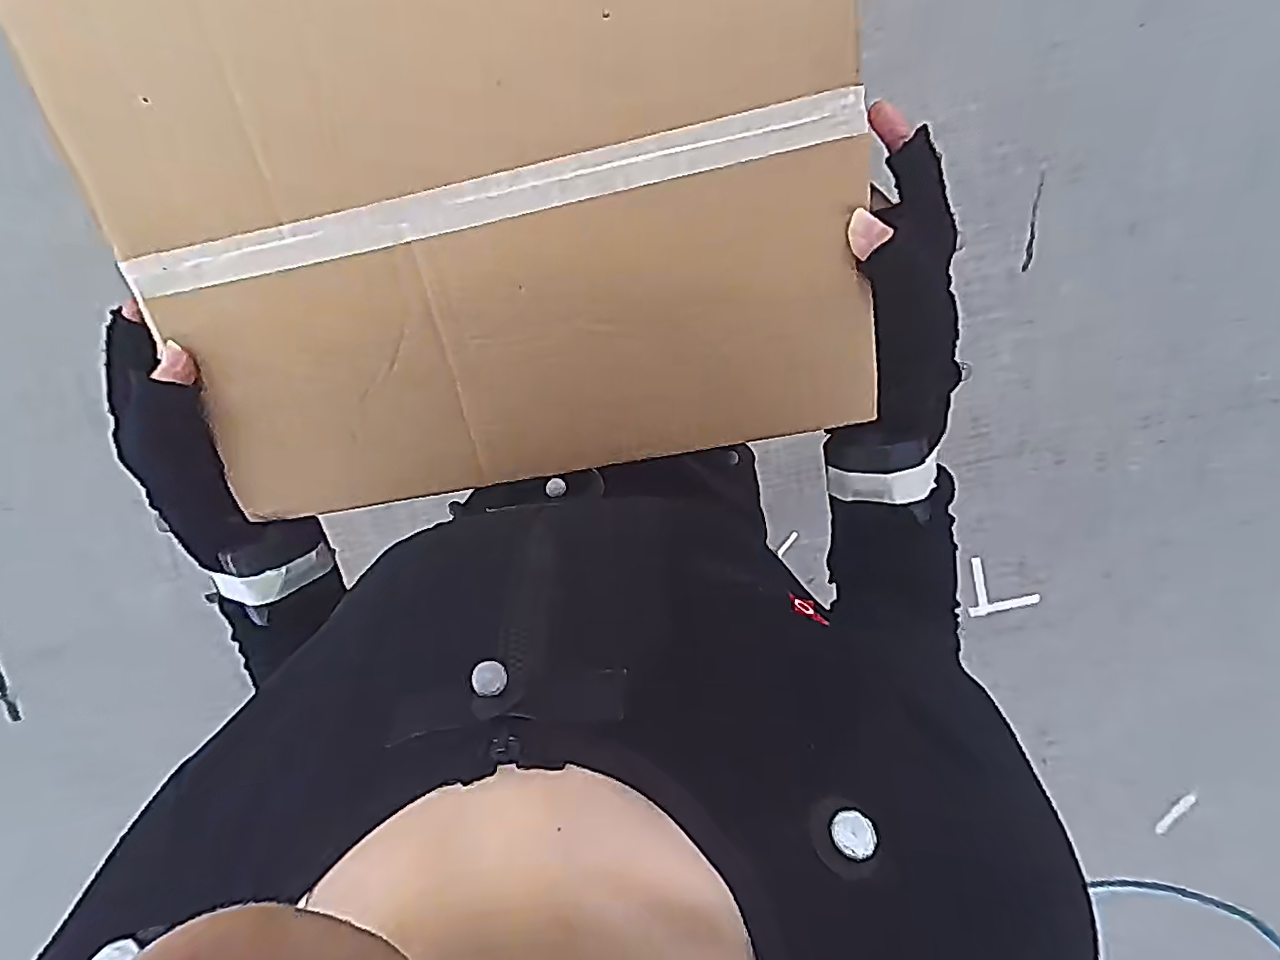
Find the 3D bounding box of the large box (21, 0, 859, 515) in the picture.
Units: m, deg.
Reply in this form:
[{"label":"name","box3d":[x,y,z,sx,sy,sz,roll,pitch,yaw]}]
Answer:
[{"label":"large box","box3d":[-0.082,-0.203,0.435,0.408,0.320,0.320,-9,110,6]}]
